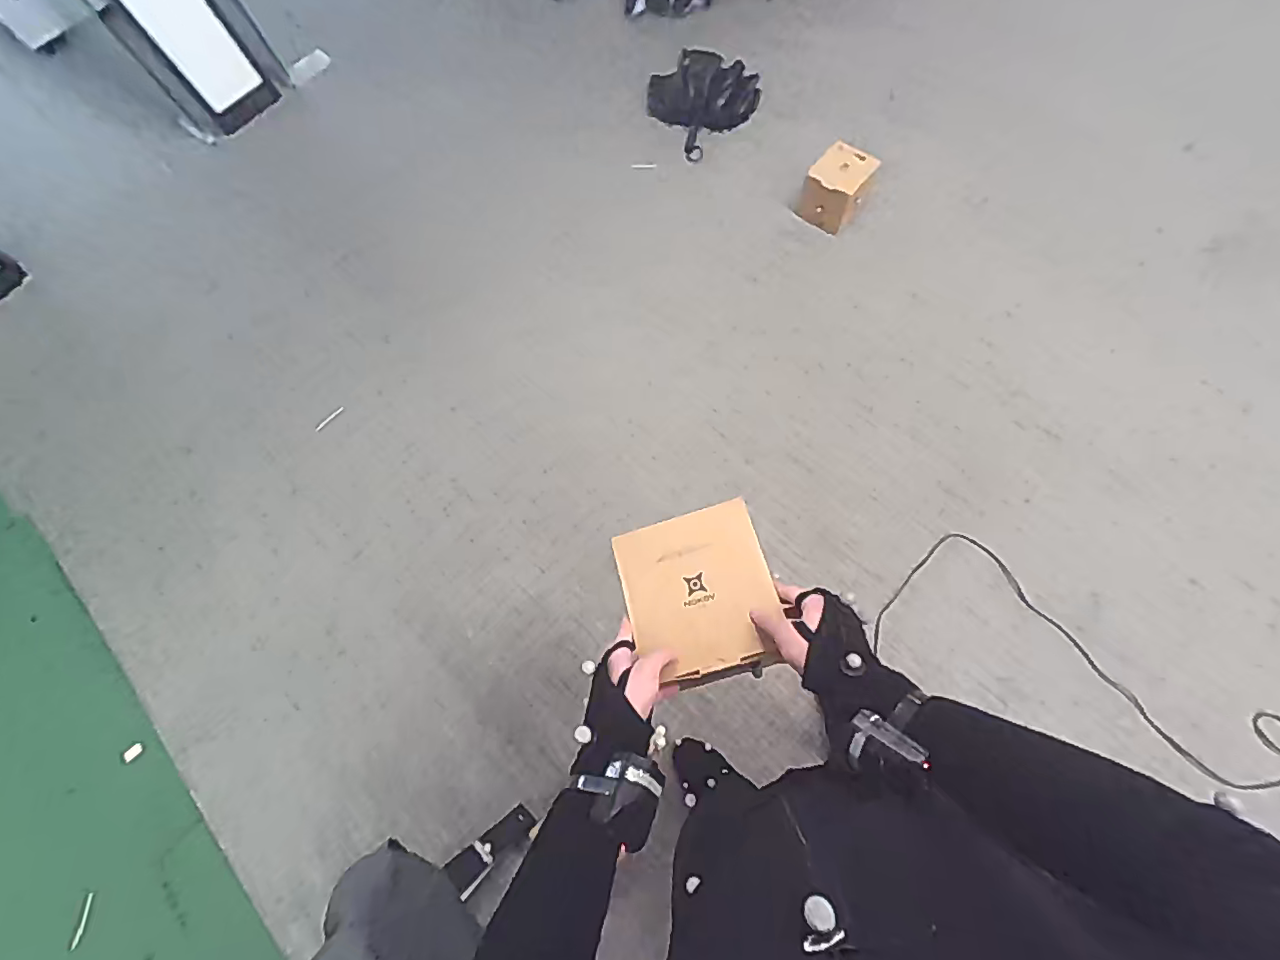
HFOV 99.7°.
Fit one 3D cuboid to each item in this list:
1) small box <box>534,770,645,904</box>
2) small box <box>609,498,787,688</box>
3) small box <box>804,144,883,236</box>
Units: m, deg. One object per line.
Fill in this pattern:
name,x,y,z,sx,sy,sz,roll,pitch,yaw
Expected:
small box,-0.105,0.795,1.225,0.179,0.176,0.168,-39,71,-10
small box,0.077,0.151,0.671,0.168,0.176,0.179,-18,62,6
small box,0.654,-0.940,1.766,0.168,0.176,0.179,38,80,17
